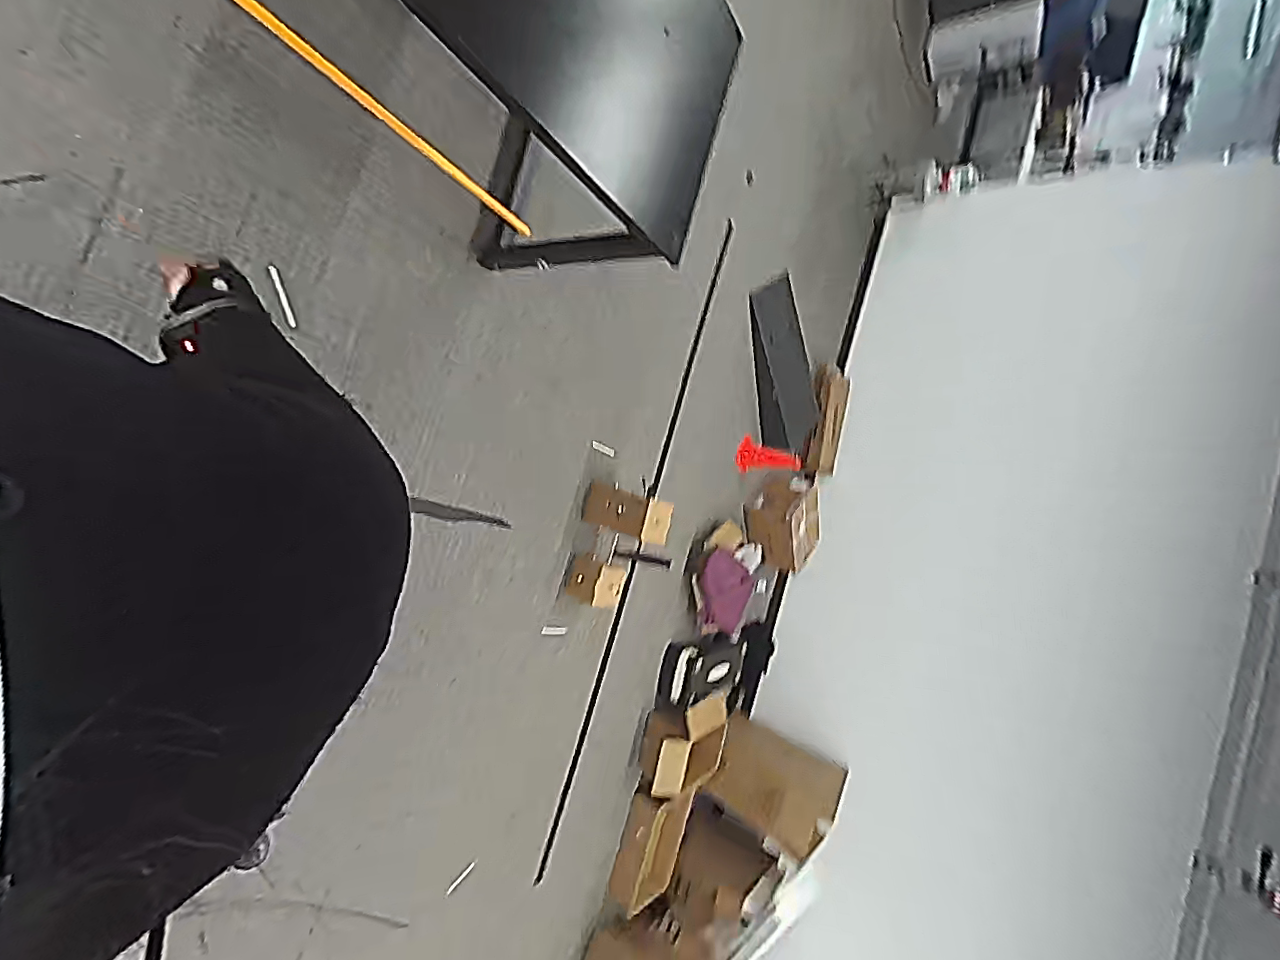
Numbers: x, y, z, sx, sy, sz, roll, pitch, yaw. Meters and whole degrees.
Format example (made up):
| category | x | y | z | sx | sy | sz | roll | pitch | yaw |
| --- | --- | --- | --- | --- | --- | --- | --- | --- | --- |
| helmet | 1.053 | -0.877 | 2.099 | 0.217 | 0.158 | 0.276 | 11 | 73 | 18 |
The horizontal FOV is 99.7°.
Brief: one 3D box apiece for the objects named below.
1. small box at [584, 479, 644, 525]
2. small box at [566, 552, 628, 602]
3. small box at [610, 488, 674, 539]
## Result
| category | x | y | z | sx | sy | sz | roll | pitch | yaw |
| --- | --- | --- | --- | --- | --- | --- | --- | --- | --- |
| small box | -0.115 | 0.101 | 2.295 | 0.168 | 0.176 | 0.179 | 18 | 87 | -53 |
| small box | -0.186 | 0.414 | 2.306 | 0.179 | 0.176 | 0.168 | 21 | 84 | -52 |
| small box | 0.009 | 0.135 | 2.195 | 0.179 | 0.176 | 0.168 | 15 | 88 | -52 |
